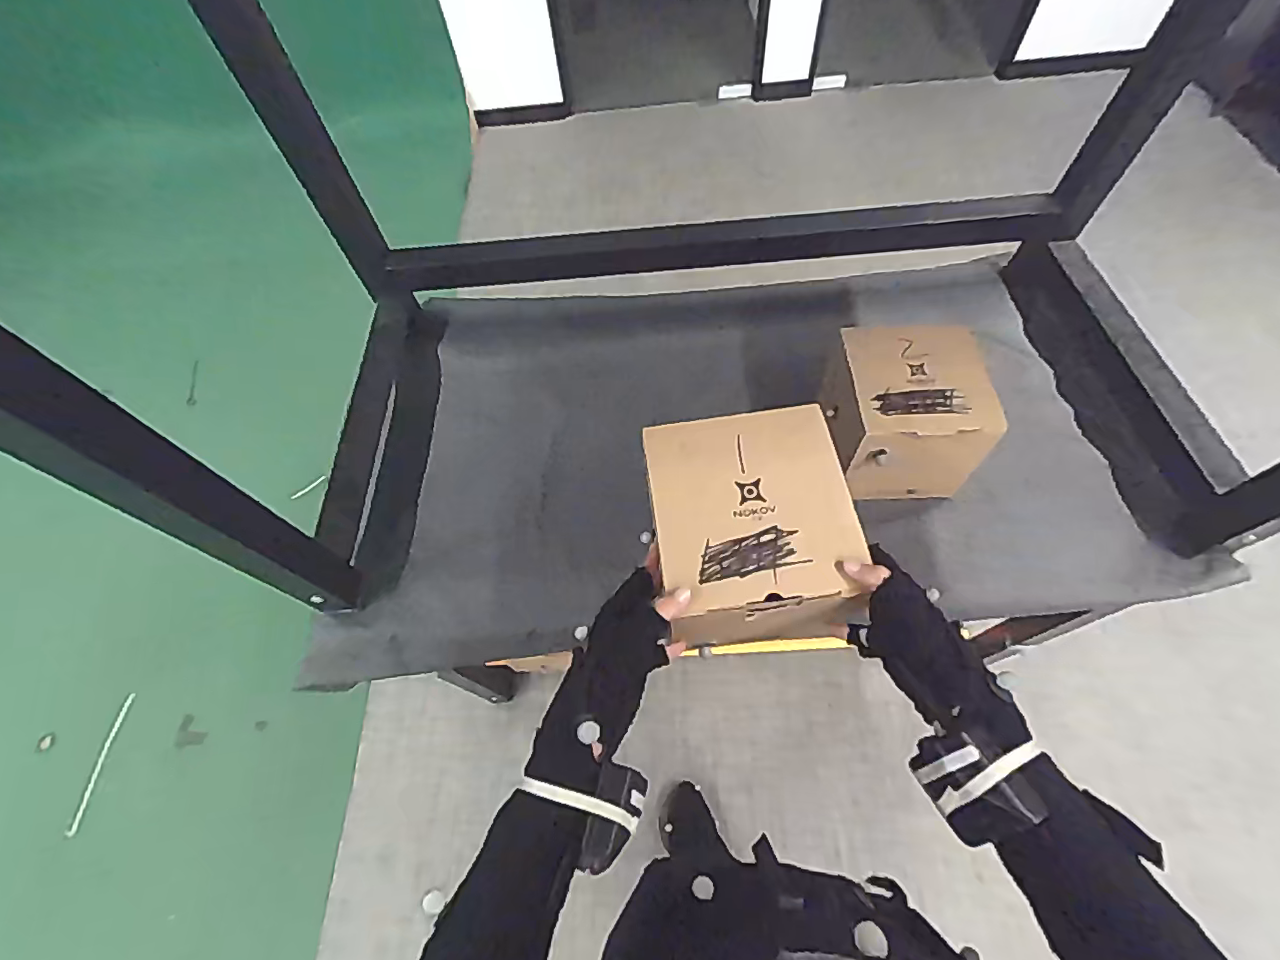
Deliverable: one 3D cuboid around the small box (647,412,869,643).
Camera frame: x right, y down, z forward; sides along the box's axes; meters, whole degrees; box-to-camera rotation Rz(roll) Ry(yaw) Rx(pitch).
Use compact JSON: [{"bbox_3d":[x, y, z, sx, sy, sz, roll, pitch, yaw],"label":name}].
[{"bbox_3d":[0.102,0.058,0.541,0.168,0.176,0.179,-8,62,1],"label":"small box"}]
